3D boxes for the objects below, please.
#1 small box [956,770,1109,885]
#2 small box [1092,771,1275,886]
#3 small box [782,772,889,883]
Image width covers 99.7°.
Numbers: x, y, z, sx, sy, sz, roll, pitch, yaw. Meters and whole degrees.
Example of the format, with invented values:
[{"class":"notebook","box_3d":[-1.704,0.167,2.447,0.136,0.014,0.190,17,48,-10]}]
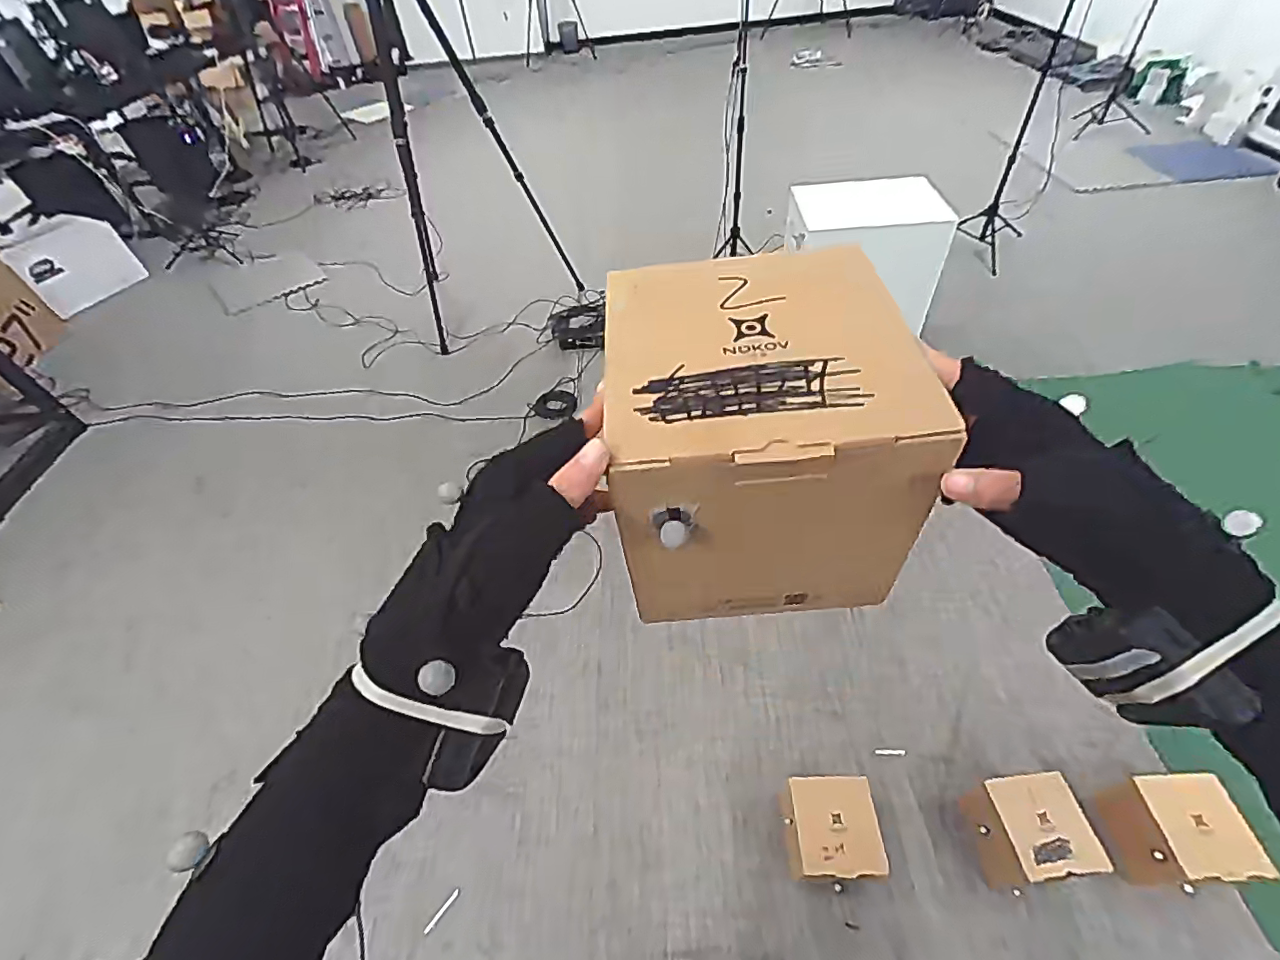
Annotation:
[{"class":"small box","box_3d":[0.807,0.731,1.133,0.168,0.176,0.179,-6,47,0]},{"class":"small box","box_3d":[1.098,0.720,1.116,0.168,0.176,0.179,-4,48,3]},{"class":"small box","box_3d":[0.405,0.745,1.158,0.168,0.176,0.179,-3,49,4]}]
